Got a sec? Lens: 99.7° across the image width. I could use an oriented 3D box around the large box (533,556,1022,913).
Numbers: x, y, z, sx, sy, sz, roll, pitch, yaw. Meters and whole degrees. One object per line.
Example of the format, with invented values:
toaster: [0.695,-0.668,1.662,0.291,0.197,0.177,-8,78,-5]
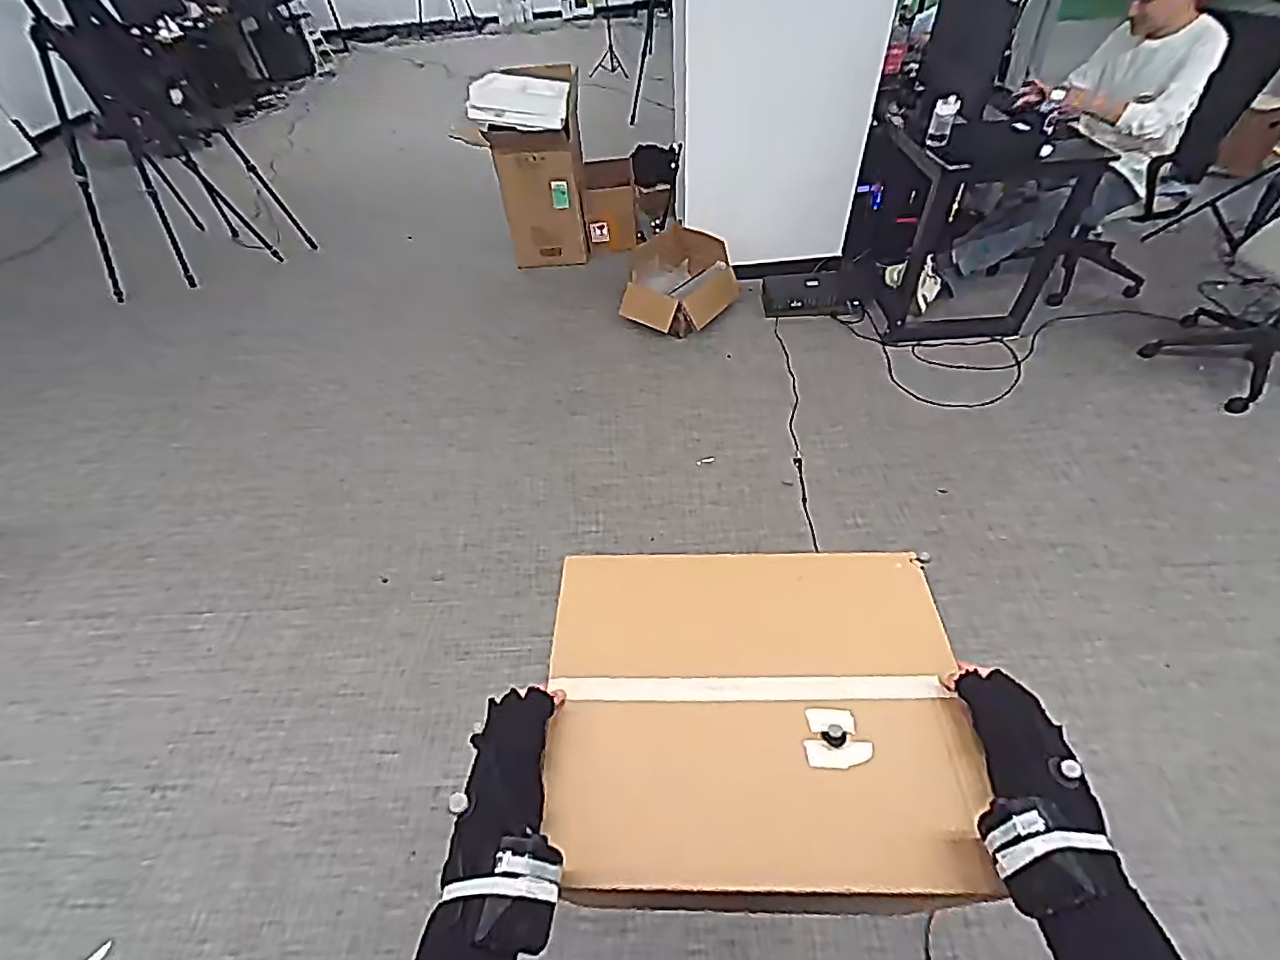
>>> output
large box: [0.113,0.306,0.643,0.408,0.320,0.320,-1,49,2]
